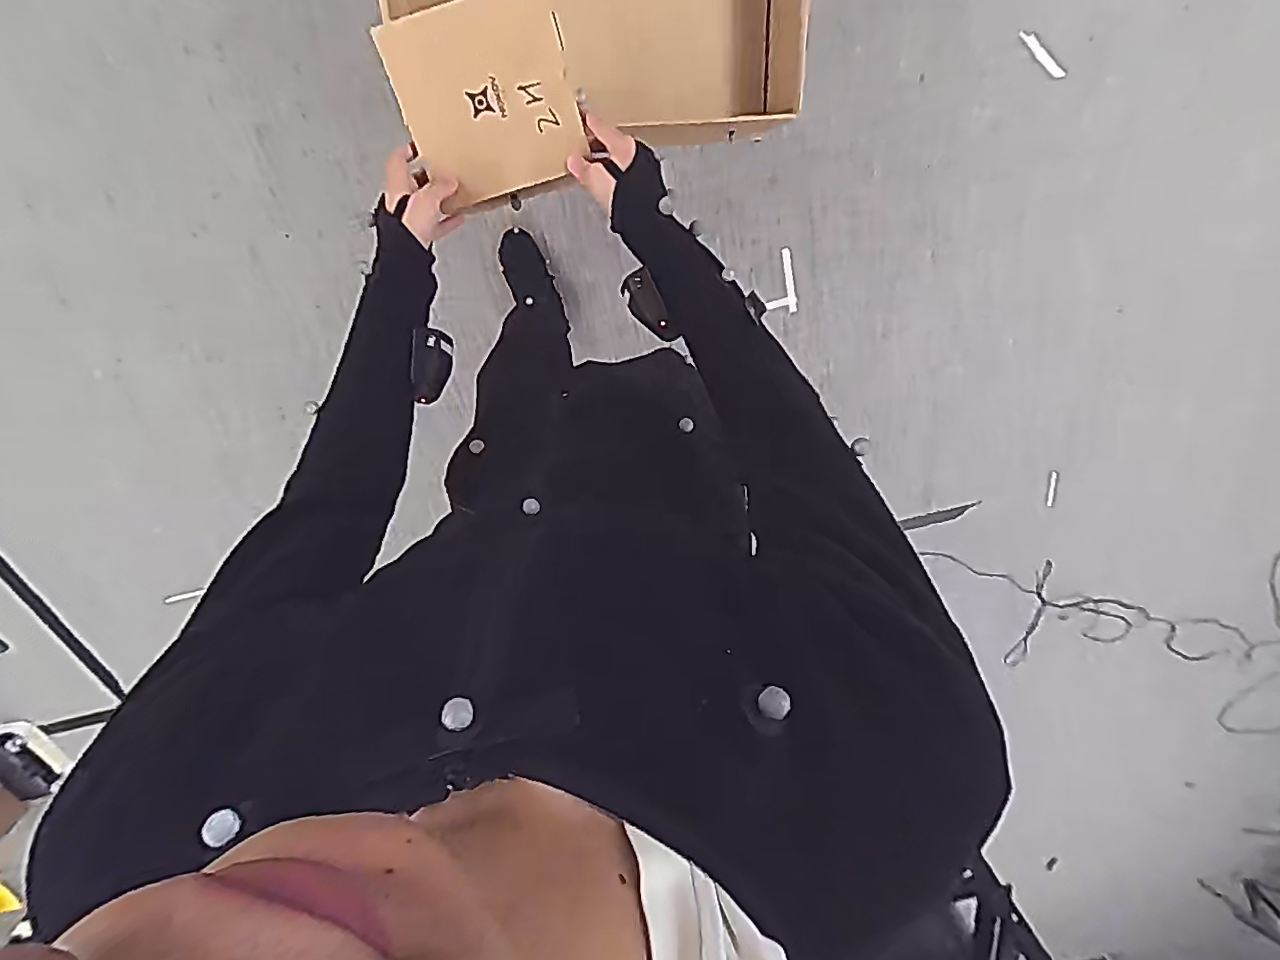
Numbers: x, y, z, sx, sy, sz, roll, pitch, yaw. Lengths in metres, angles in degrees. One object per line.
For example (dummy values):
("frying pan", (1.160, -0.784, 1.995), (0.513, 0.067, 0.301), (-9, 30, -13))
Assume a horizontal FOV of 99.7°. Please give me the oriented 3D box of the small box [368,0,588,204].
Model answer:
("small box", (-0.163, -0.423, 0.613), (0.179, 0.176, 0.168), (-16, 117, 2))
